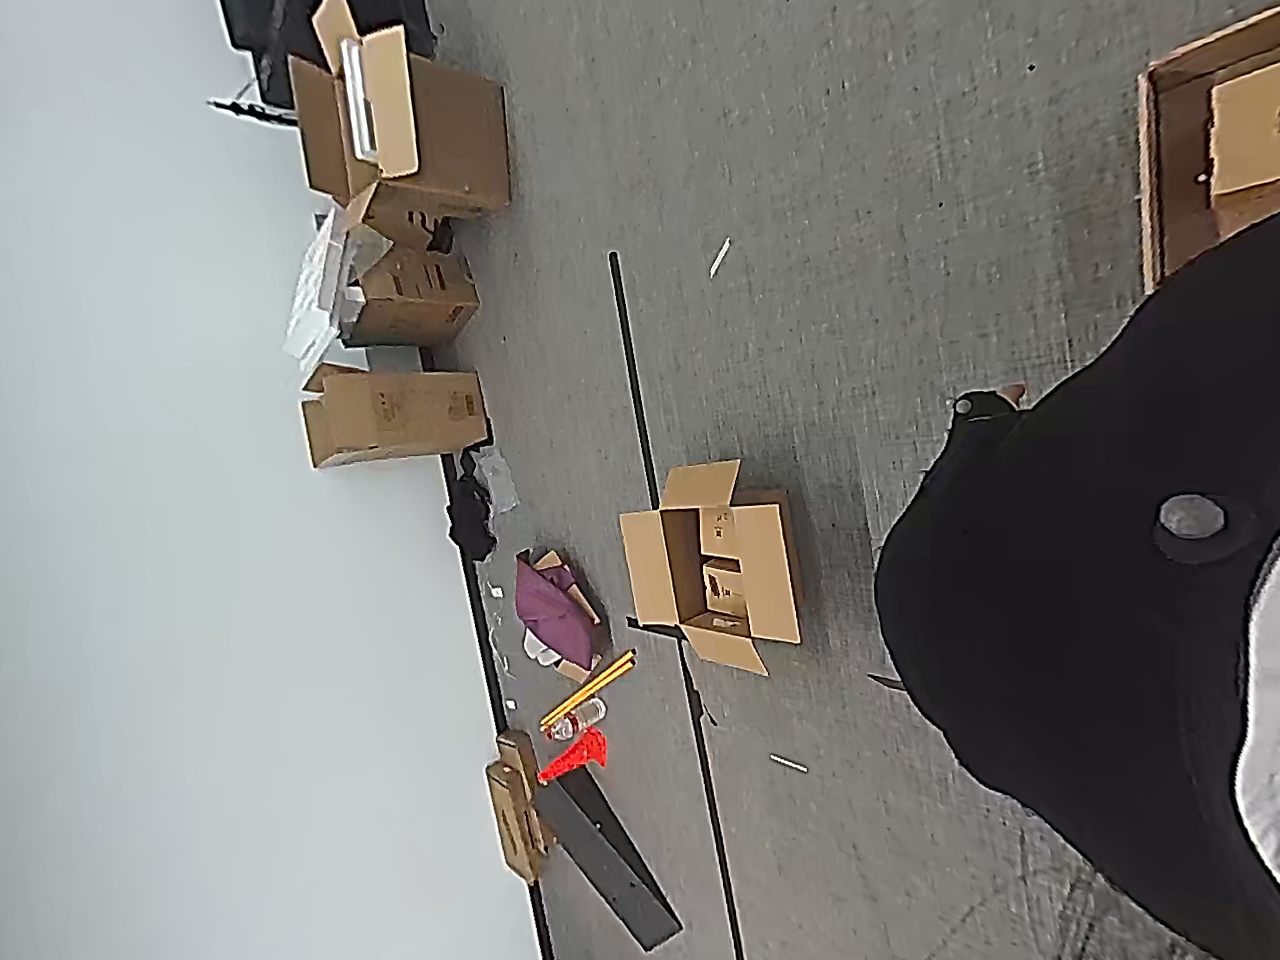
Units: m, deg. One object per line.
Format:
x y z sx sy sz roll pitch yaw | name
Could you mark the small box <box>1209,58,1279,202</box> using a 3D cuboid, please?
1.023 -0.558 0.848 0.179 0.176 0.168 -1 102 46 | small box
